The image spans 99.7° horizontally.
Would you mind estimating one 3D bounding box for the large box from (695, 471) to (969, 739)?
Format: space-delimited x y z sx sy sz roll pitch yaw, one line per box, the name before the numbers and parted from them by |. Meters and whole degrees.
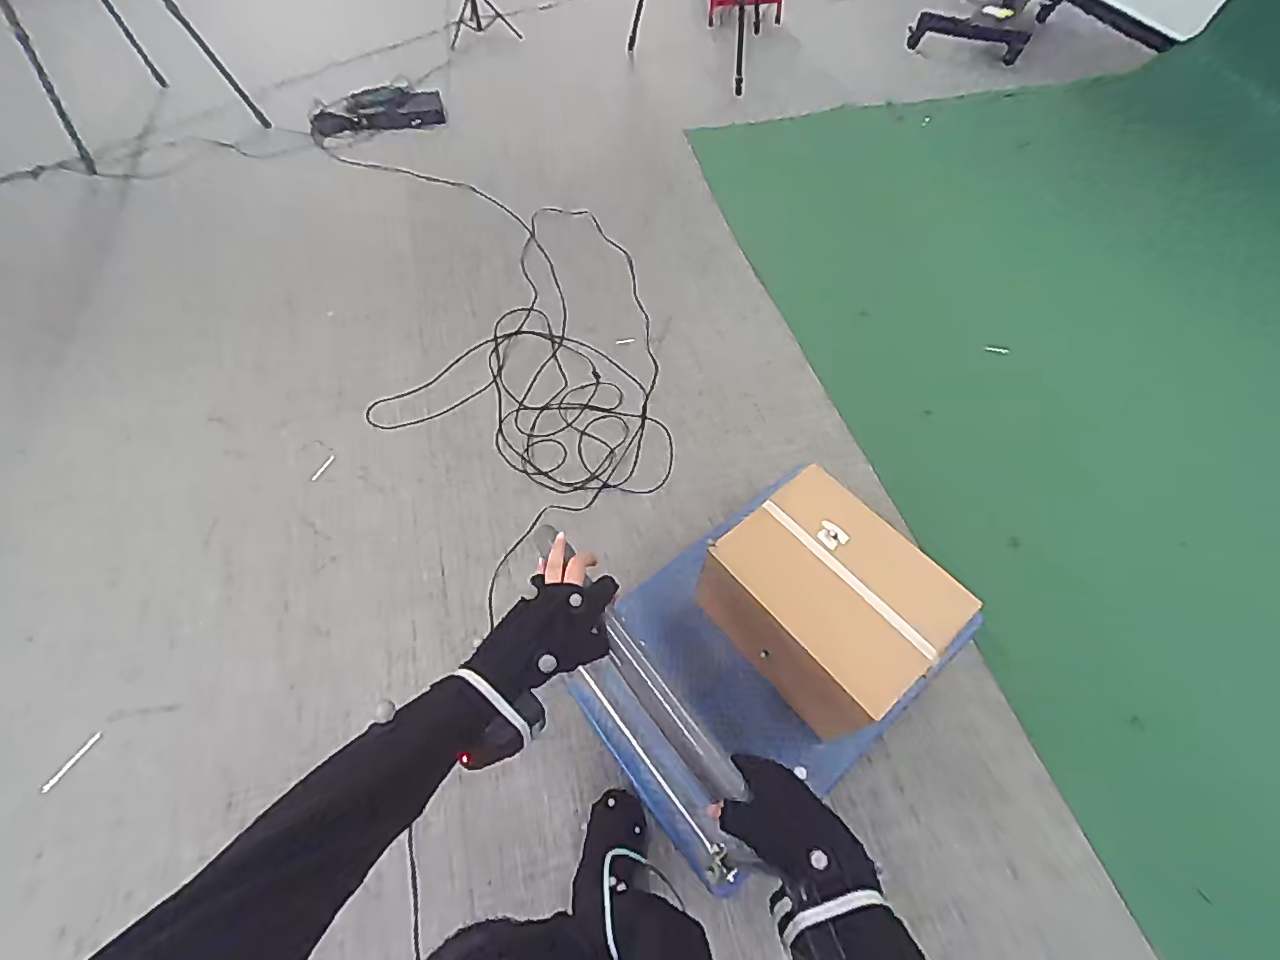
large box | 0.369 0.267 1.149 0.320 0.320 0.408 -35 64 -20
